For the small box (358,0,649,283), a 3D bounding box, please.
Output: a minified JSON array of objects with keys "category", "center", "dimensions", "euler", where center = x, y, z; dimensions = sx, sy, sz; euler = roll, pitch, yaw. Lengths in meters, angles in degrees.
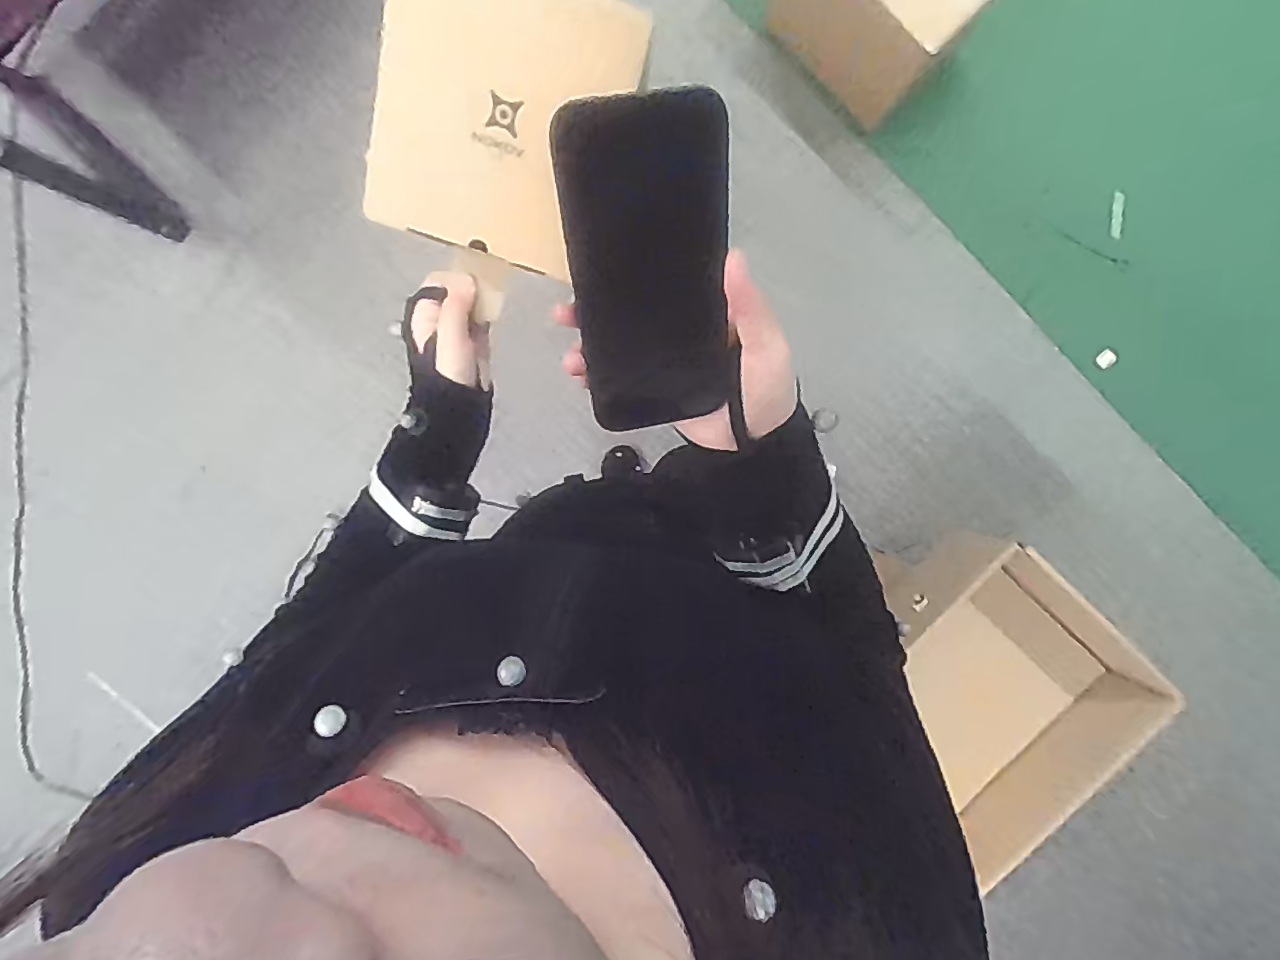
[{"category":"small box","center":[-0.100,-0.279,0.436],"dimensions":[0.168,0.176,0.179],"euler":[15,114,-9]}]
